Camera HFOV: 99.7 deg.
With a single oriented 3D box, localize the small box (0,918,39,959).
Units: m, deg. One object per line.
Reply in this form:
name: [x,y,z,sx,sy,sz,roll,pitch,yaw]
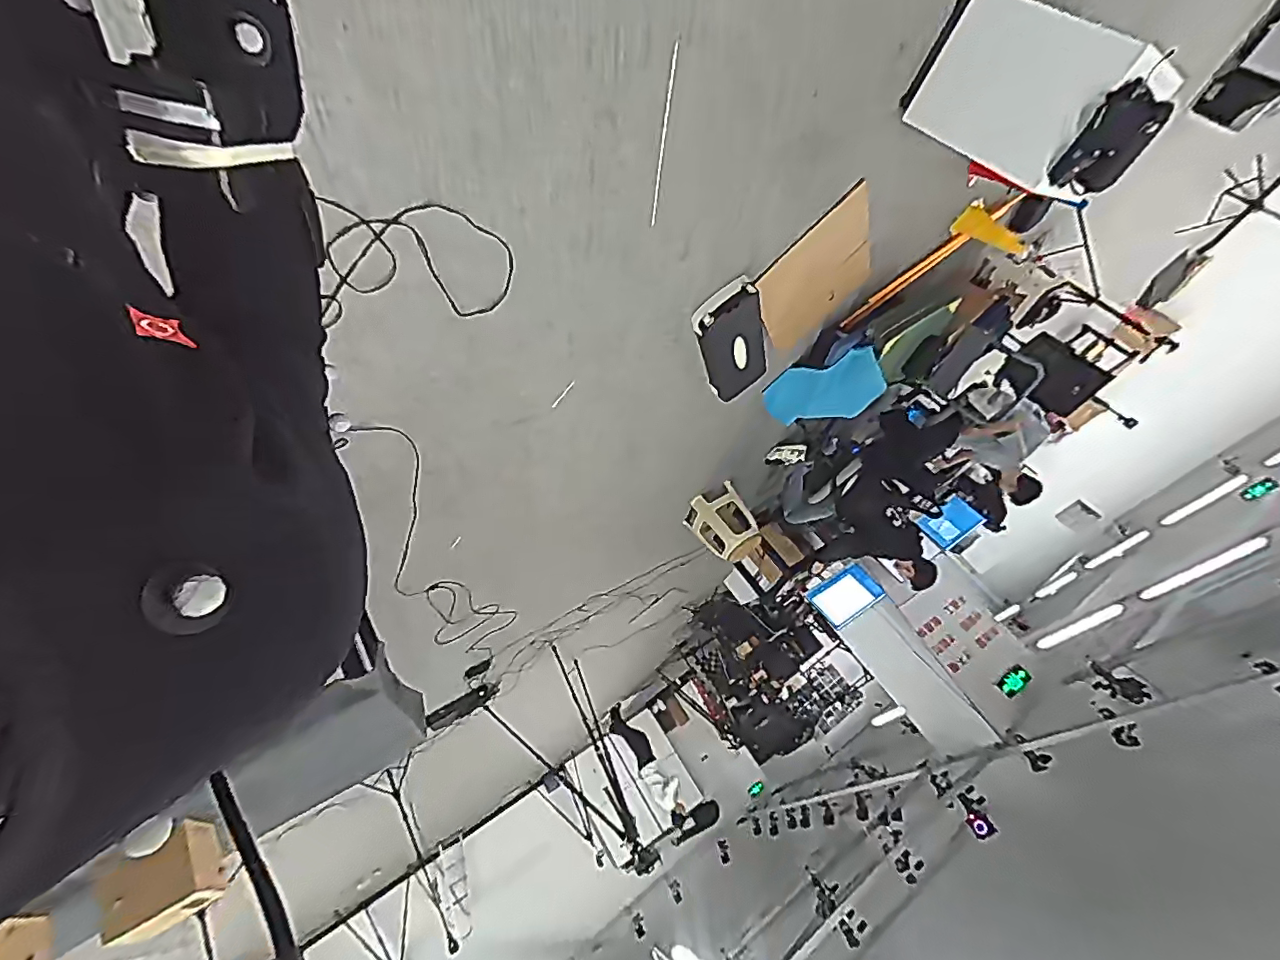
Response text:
small box: [-1.393,1.038,1.105,0.179,0.176,0.168,-24,152,-26]
